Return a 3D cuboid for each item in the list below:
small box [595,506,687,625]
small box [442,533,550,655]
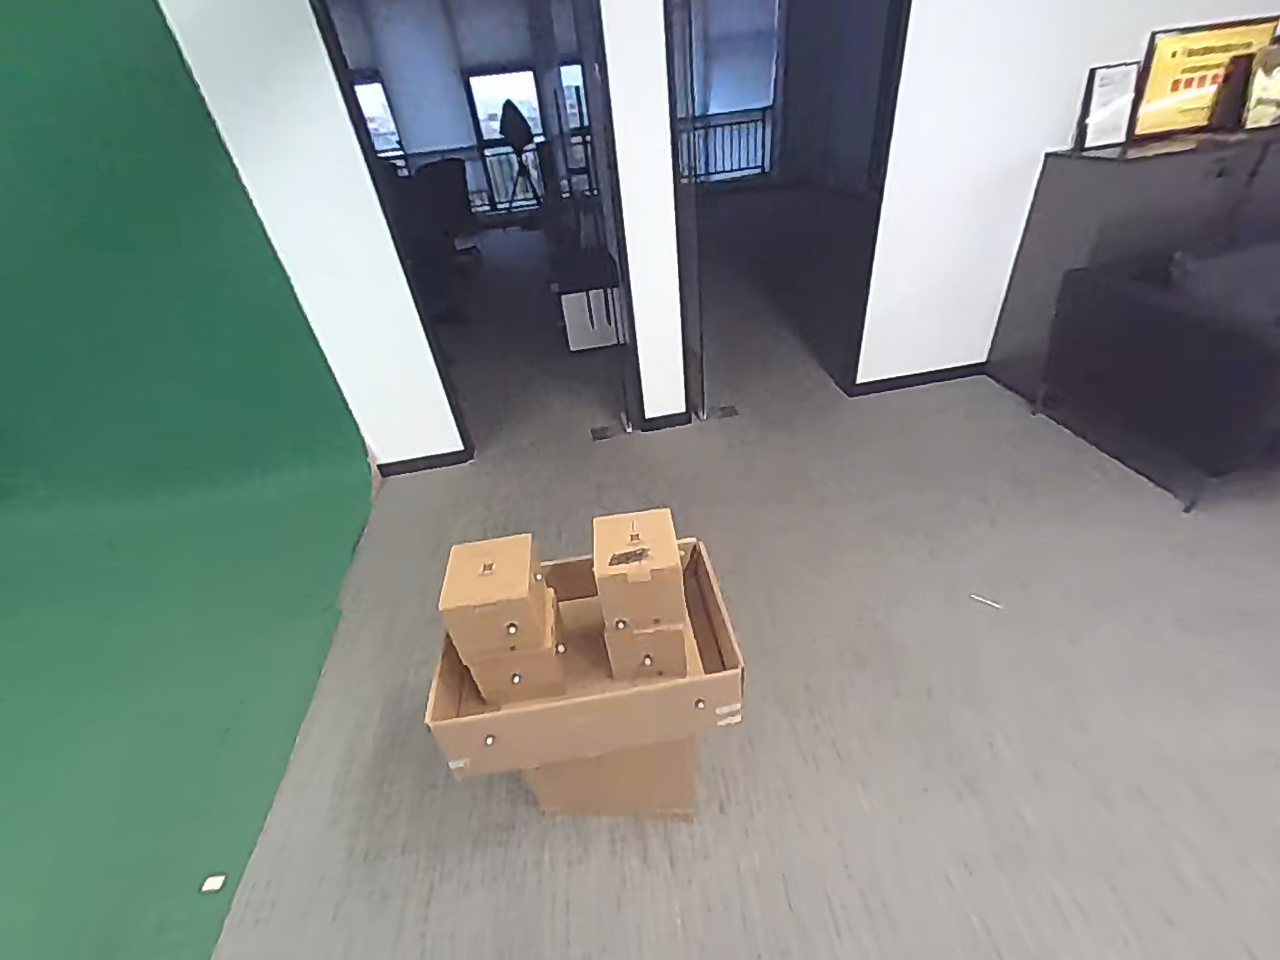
[{"bbox_3d":[0.001,0.181,1.118,0.168,0.176,0.179,-8,35,0],"label":"small box"},{"bbox_3d":[-0.281,0.236,1.098,0.168,0.176,0.179,-9,35,-2],"label":"small box"}]
